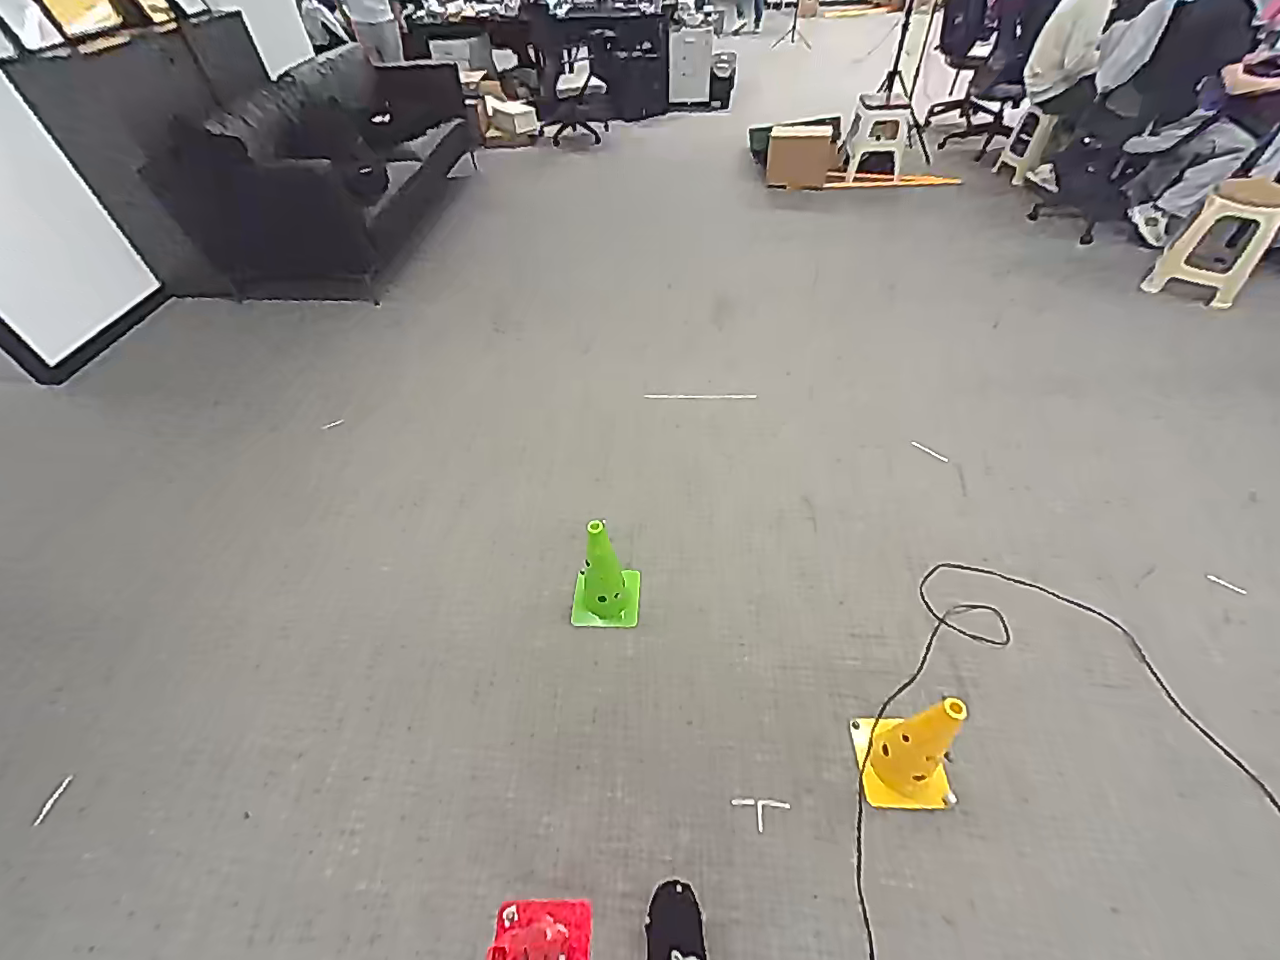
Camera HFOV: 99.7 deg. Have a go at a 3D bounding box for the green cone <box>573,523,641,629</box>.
[{"bbox_3d":[-0.103,0.250,1.537,0.202,0.368,0.200,1,48,3],"label":"green cone"}]

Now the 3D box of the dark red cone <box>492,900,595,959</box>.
[{"bbox_3d":[-0.200,0.854,0.951,0.202,0.394,0.201,-3,48,1],"label":"dark red cone"}]
